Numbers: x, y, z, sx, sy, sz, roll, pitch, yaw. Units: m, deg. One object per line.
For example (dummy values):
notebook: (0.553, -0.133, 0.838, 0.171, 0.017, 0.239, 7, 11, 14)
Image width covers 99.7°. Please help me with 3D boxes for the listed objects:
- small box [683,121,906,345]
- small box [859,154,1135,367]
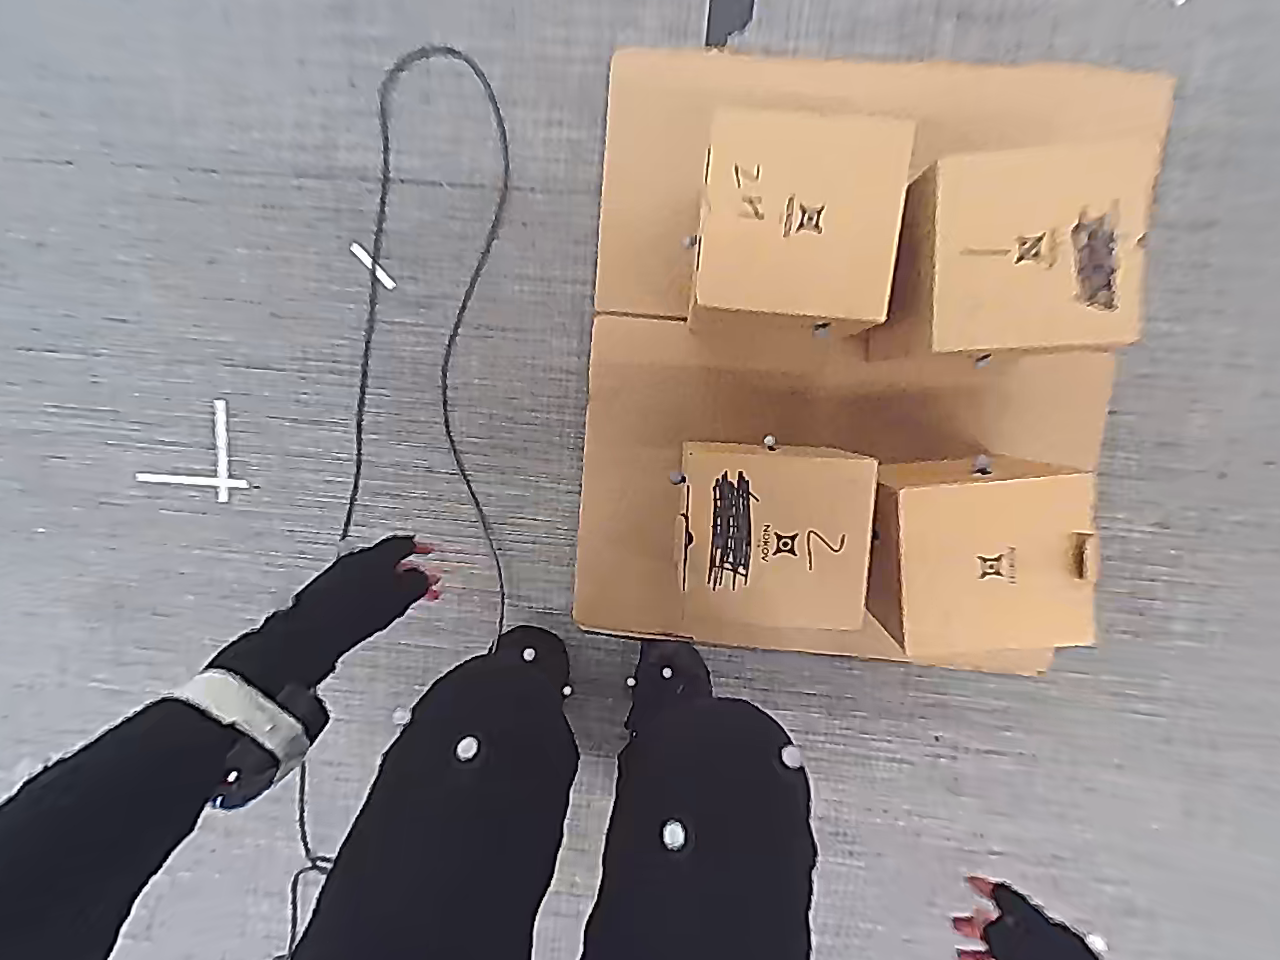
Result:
small box: (0.143, -0.239, 0.567, 0.179, 0.176, 0.168, 7, 98, 3)
small box: (0.344, -0.207, 0.556, 0.179, 0.176, 0.168, -2, 98, 5)
